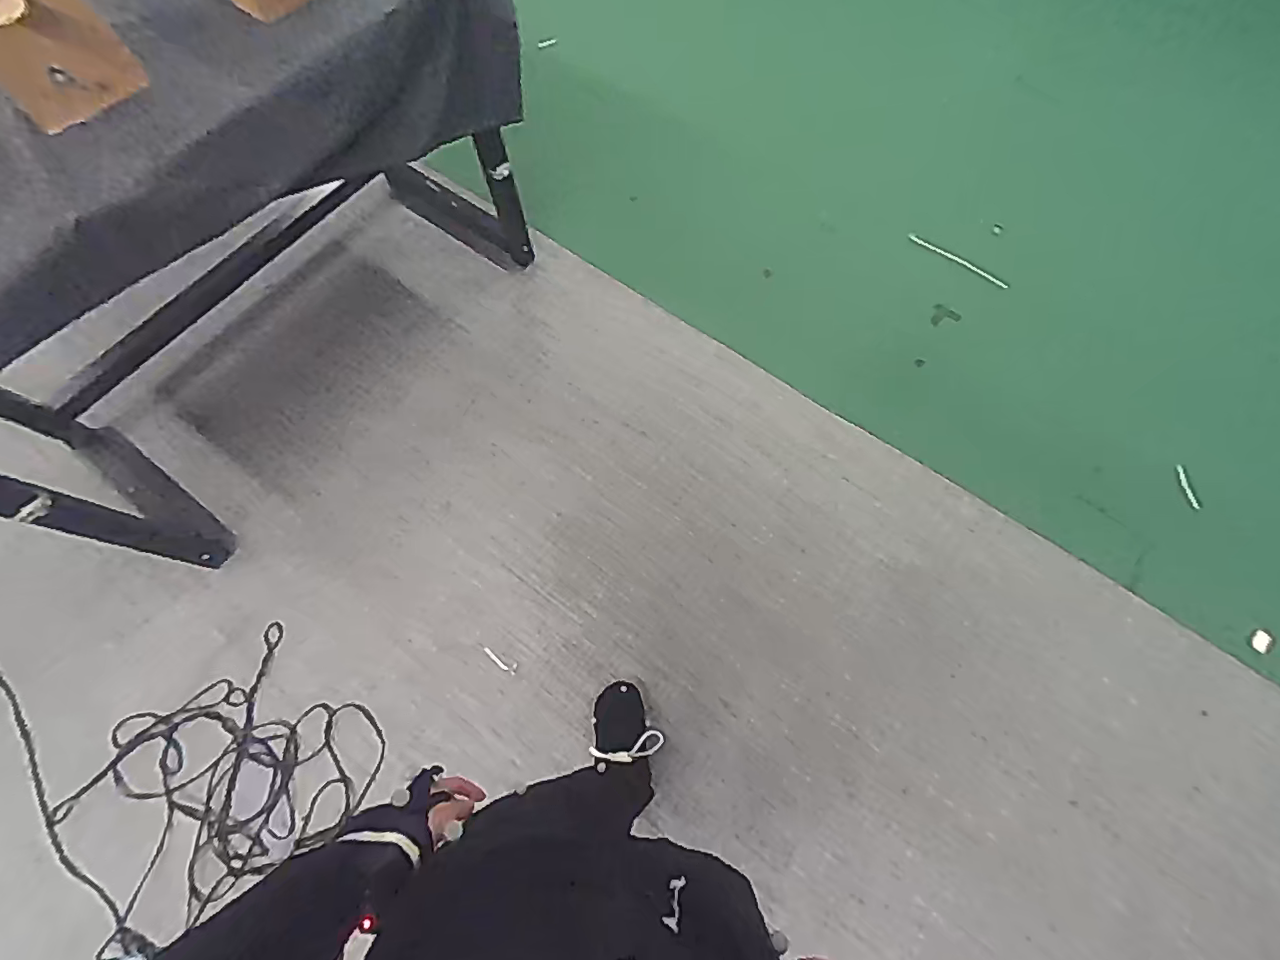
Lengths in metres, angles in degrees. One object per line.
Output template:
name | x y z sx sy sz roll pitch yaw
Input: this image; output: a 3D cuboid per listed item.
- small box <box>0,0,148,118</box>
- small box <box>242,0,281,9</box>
small box | -0.848 -0.646 0.739 0.168 0.176 0.179 -41 75 -14
small box | -0.603 -0.868 0.821 0.179 0.176 0.168 36 73 14
